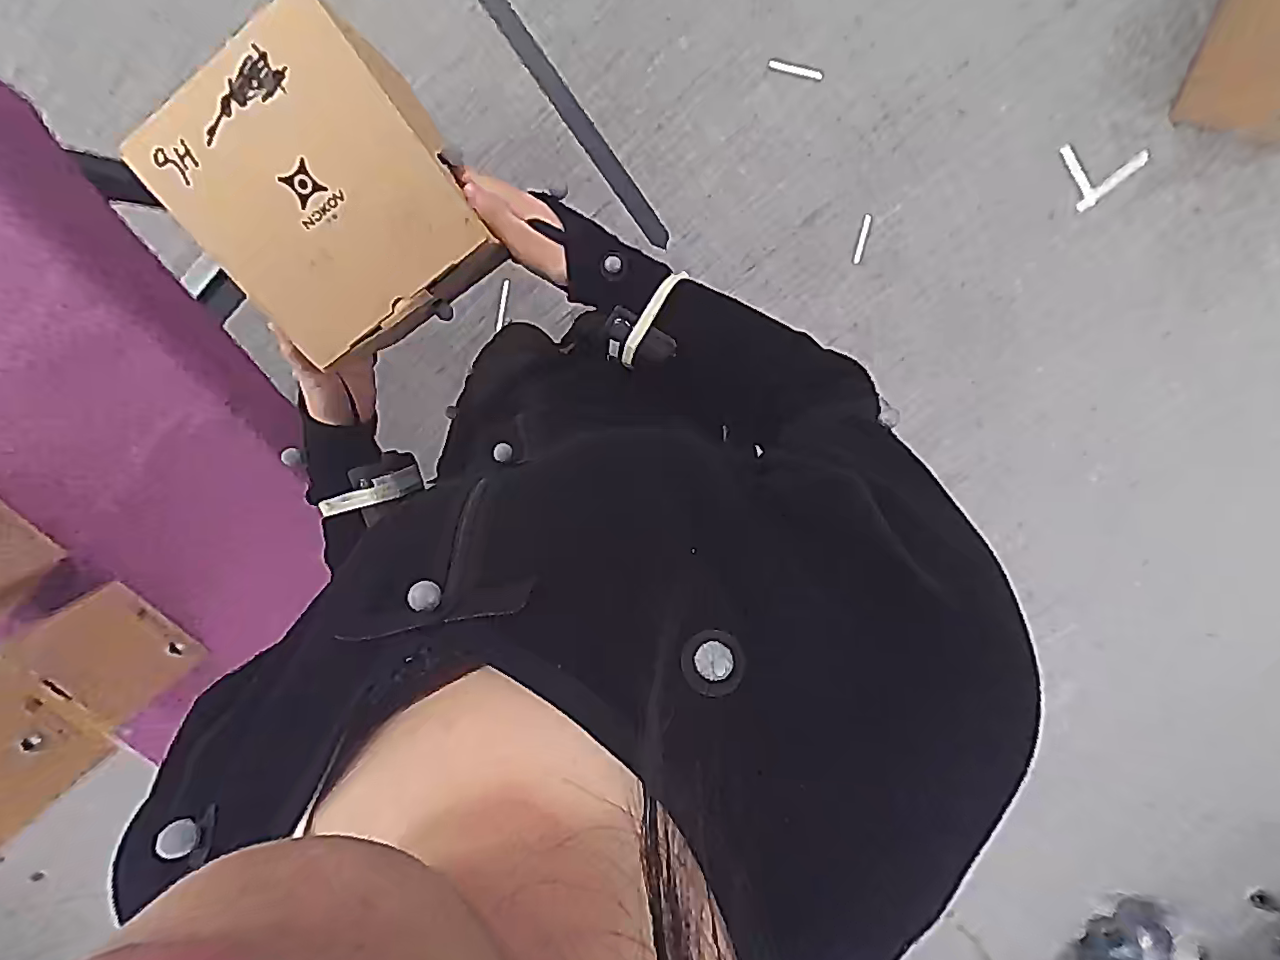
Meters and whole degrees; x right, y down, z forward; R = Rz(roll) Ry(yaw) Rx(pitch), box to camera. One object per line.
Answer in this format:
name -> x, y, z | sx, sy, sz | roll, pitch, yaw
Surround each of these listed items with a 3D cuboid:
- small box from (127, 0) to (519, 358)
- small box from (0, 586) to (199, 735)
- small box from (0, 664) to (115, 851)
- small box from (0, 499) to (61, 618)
small box -> -0.216, -0.227, 0.432 | 0.168, 0.176, 0.179 | -32, 112, 7
small box -> -0.787, 0.284, 0.767 | 0.179, 0.176, 0.168 | -37, 106, 12
small box -> -0.781, 0.352, 0.618 | 0.179, 0.176, 0.168 | -35, 106, 10
small box -> -0.947, 0.126, 0.709 | 0.179, 0.176, 0.168 | -37, 107, 11
